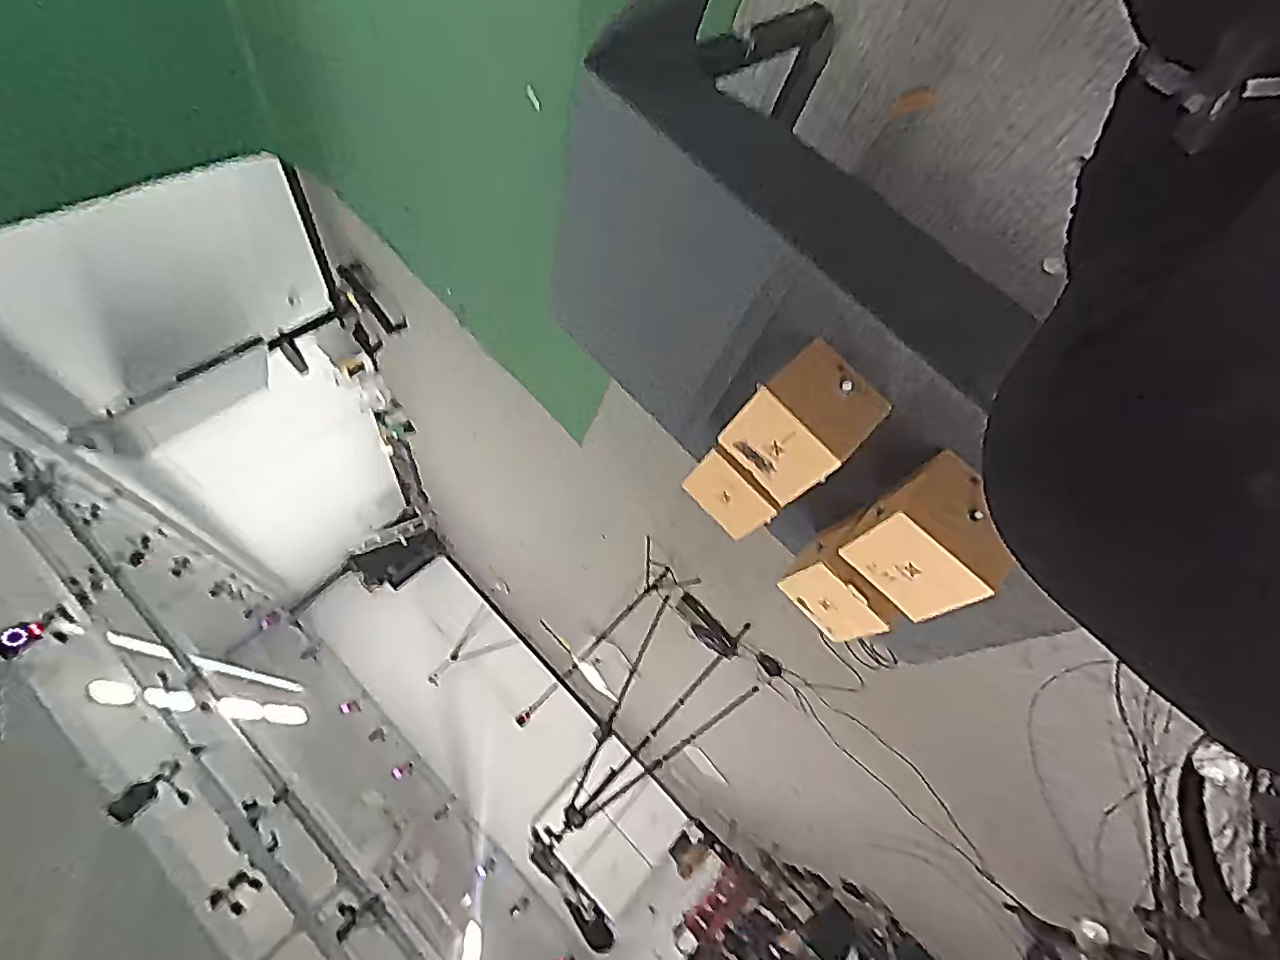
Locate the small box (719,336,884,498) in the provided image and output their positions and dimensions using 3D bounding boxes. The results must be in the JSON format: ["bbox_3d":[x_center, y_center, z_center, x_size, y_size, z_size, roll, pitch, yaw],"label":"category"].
[{"bbox_3d":[0.270,-0.105,0.911,0.168,0.176,0.179,45,152,6],"label":"small box"}]

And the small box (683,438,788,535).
[{"bbox_3d":[0.222,-0.021,1.092,0.168,0.176,0.179,45,152,5],"label":"small box"}]
